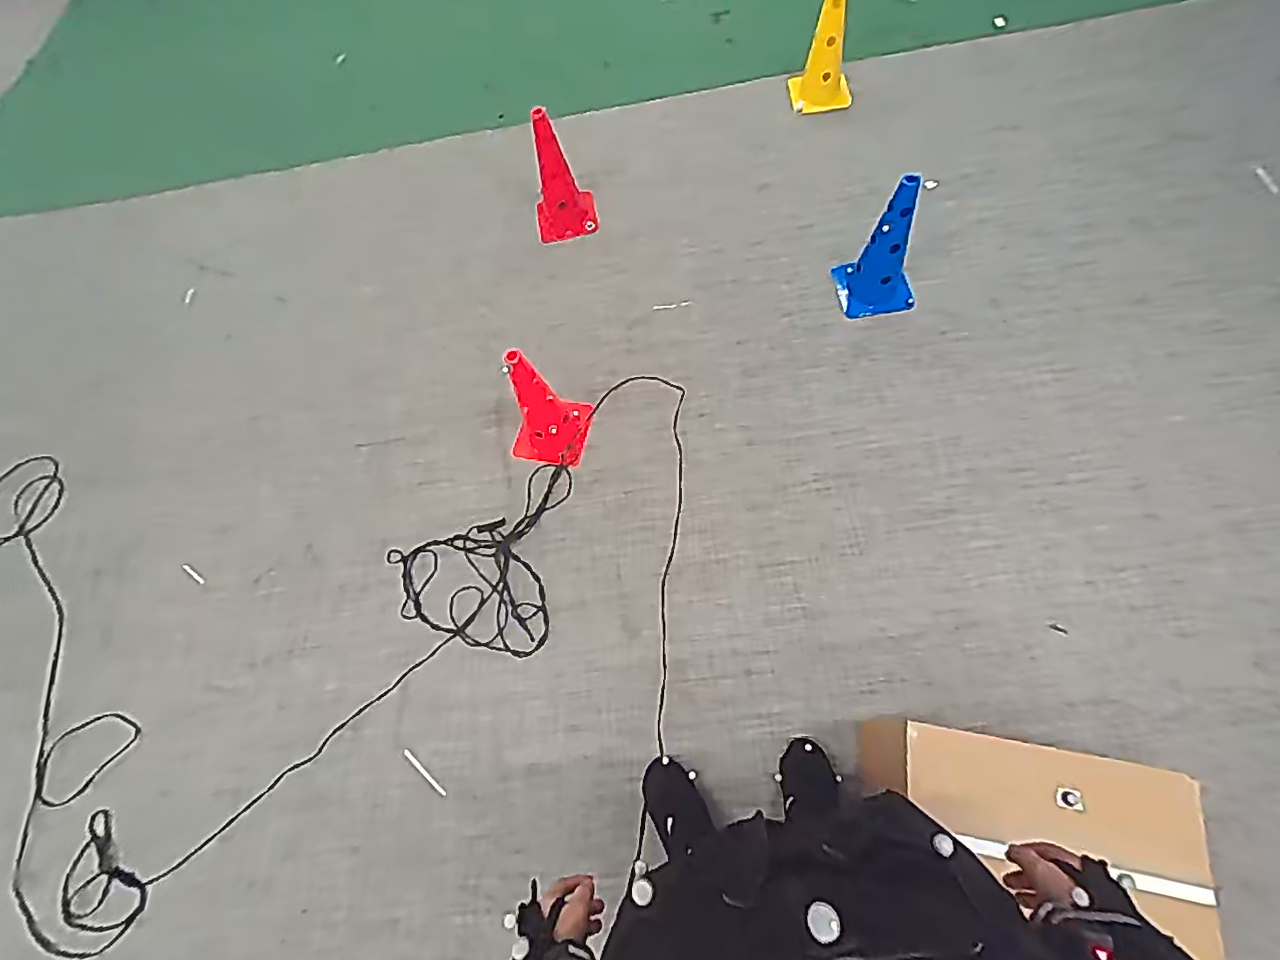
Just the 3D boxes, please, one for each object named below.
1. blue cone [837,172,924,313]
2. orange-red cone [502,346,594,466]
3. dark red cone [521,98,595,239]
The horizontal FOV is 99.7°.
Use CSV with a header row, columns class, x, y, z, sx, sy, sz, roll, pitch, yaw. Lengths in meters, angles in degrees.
class,x,y,z,sx,sy,sz,roll,pitch,yaw
blue cone,0.664,-0.636,1.437,0.192,0.380,0.193,-7,65,5
orange-red cone,-0.270,-0.210,1.368,0.199,0.360,0.198,10,67,14
dark red cone,-0.283,-0.979,1.693,0.202,0.394,0.201,-14,62,2
